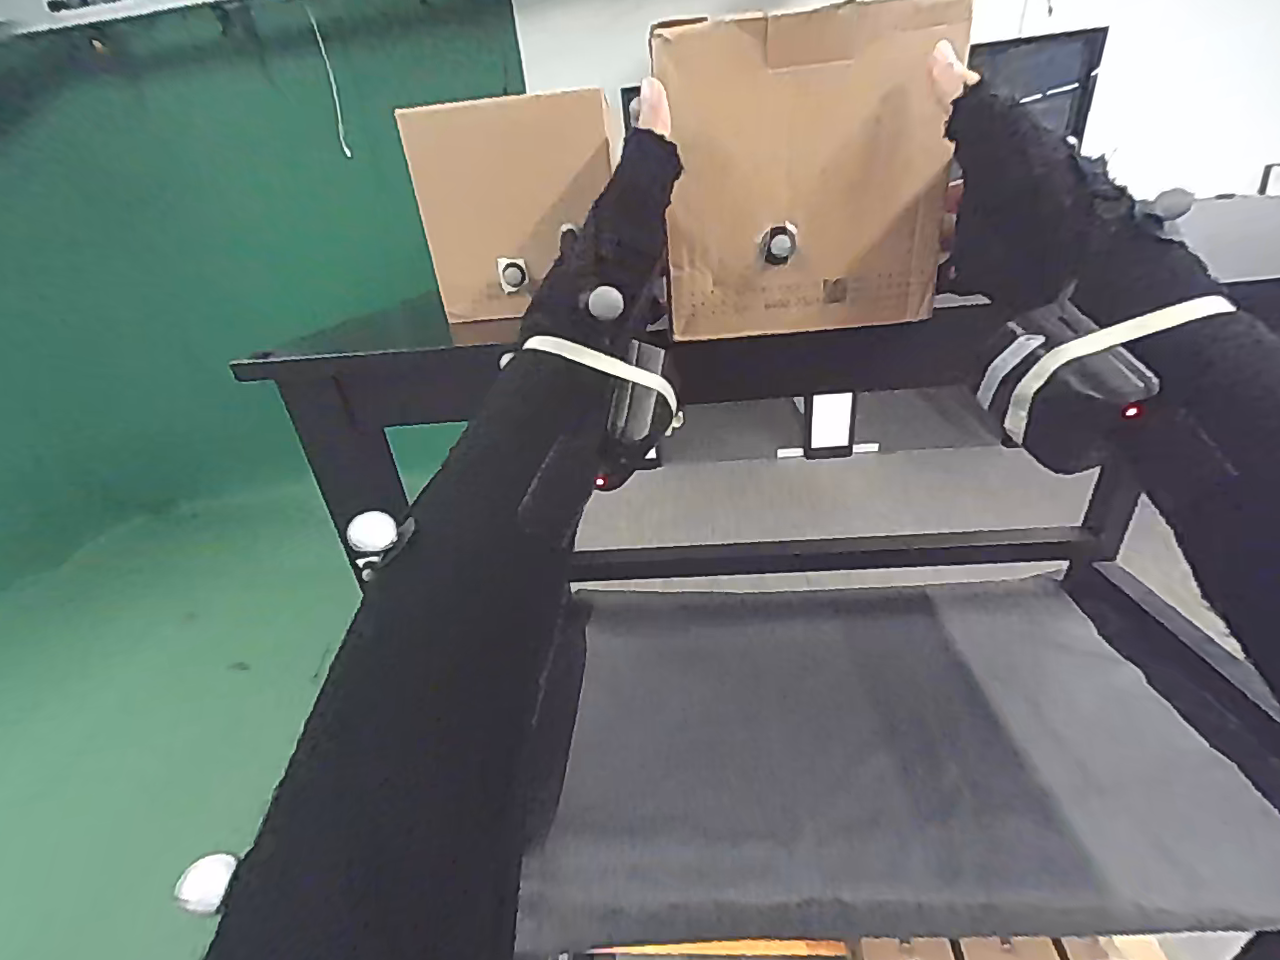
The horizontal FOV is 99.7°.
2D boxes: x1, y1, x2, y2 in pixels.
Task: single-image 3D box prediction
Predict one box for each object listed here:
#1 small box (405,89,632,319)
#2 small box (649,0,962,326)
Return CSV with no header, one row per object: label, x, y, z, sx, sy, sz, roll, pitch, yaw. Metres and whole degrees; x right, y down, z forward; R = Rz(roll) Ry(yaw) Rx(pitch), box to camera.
small box,-0.100,-0.262,0.536,0.168,0.176,0.179,-6,27,2
small box,0.096,-0.213,0.392,0.168,0.176,0.179,-4,26,4
